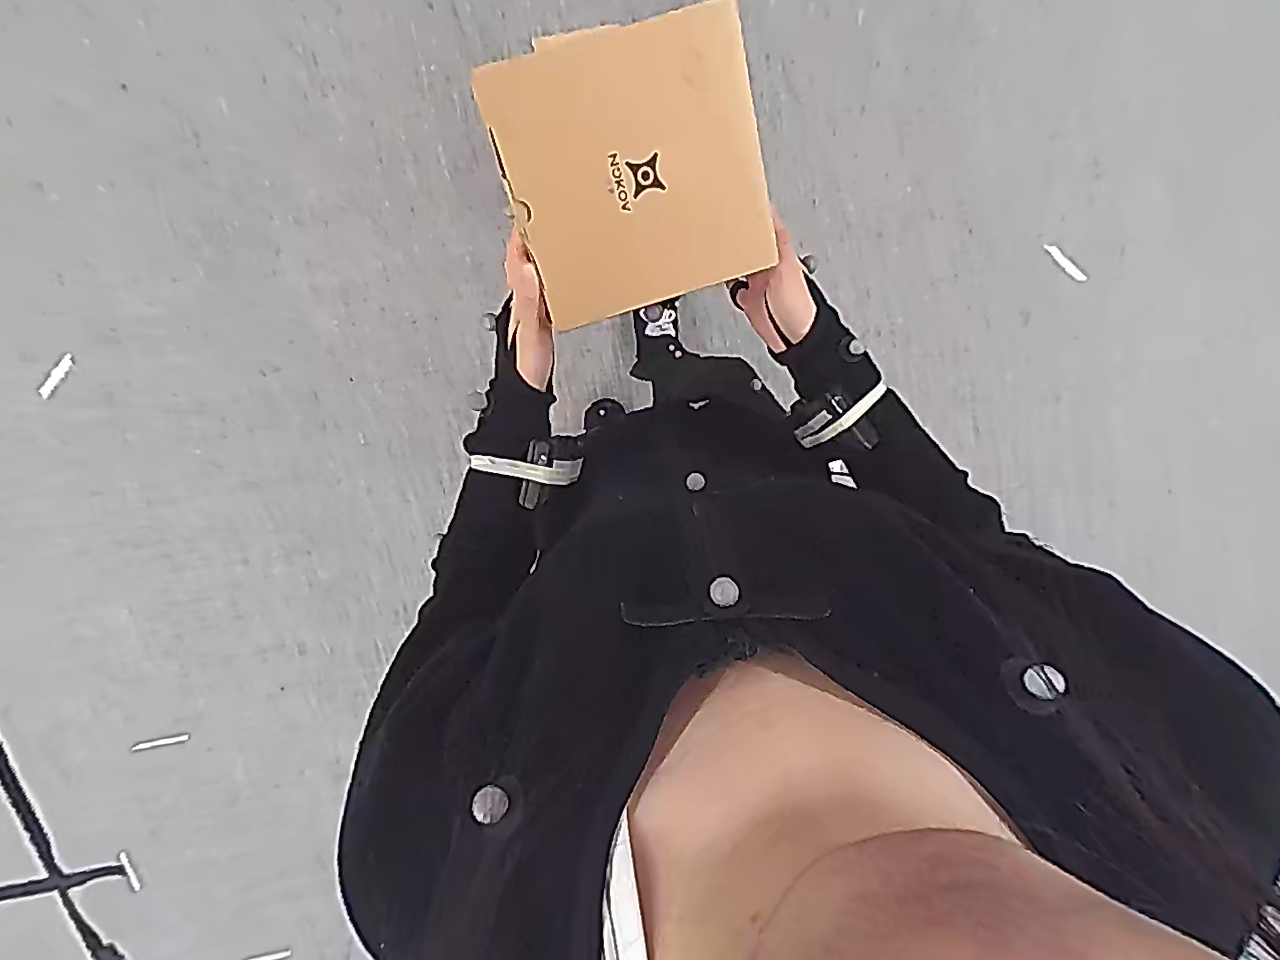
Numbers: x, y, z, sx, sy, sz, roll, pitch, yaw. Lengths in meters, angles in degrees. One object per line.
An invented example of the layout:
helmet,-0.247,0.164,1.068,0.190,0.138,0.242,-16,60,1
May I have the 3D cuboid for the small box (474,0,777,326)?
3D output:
small box,-0.013,-0.239,0.438,0.179,0.176,0.168,-18,113,-1
